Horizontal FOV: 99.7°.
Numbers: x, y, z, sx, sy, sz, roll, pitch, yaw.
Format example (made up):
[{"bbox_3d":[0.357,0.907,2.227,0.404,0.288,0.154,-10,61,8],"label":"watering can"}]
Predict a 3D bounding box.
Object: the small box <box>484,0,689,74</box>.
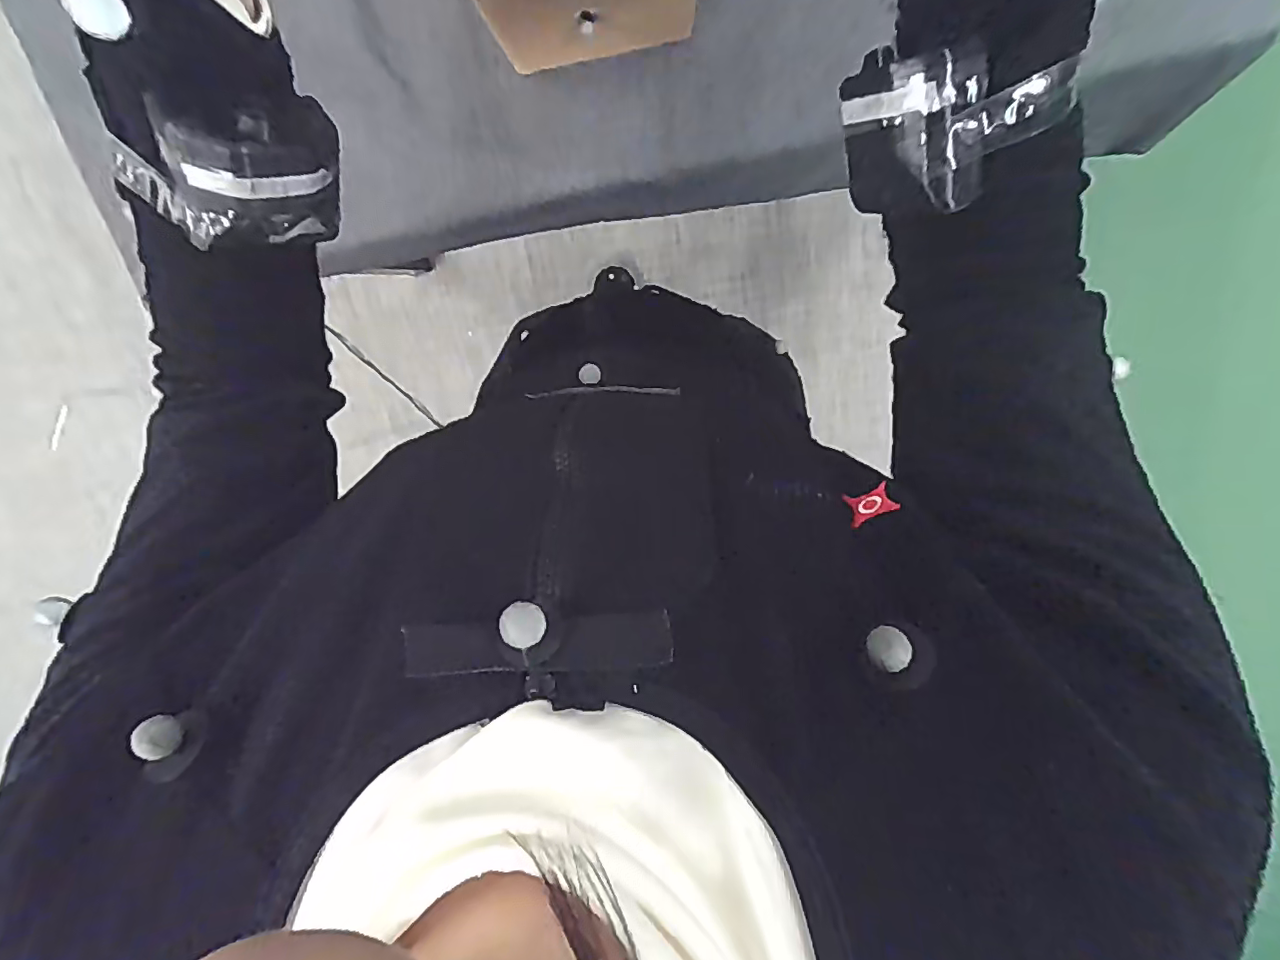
[{"bbox_3d":[-0.052,-0.473,0.441,0.179,0.176,0.168,-13,109,4],"label":"small box"}]
